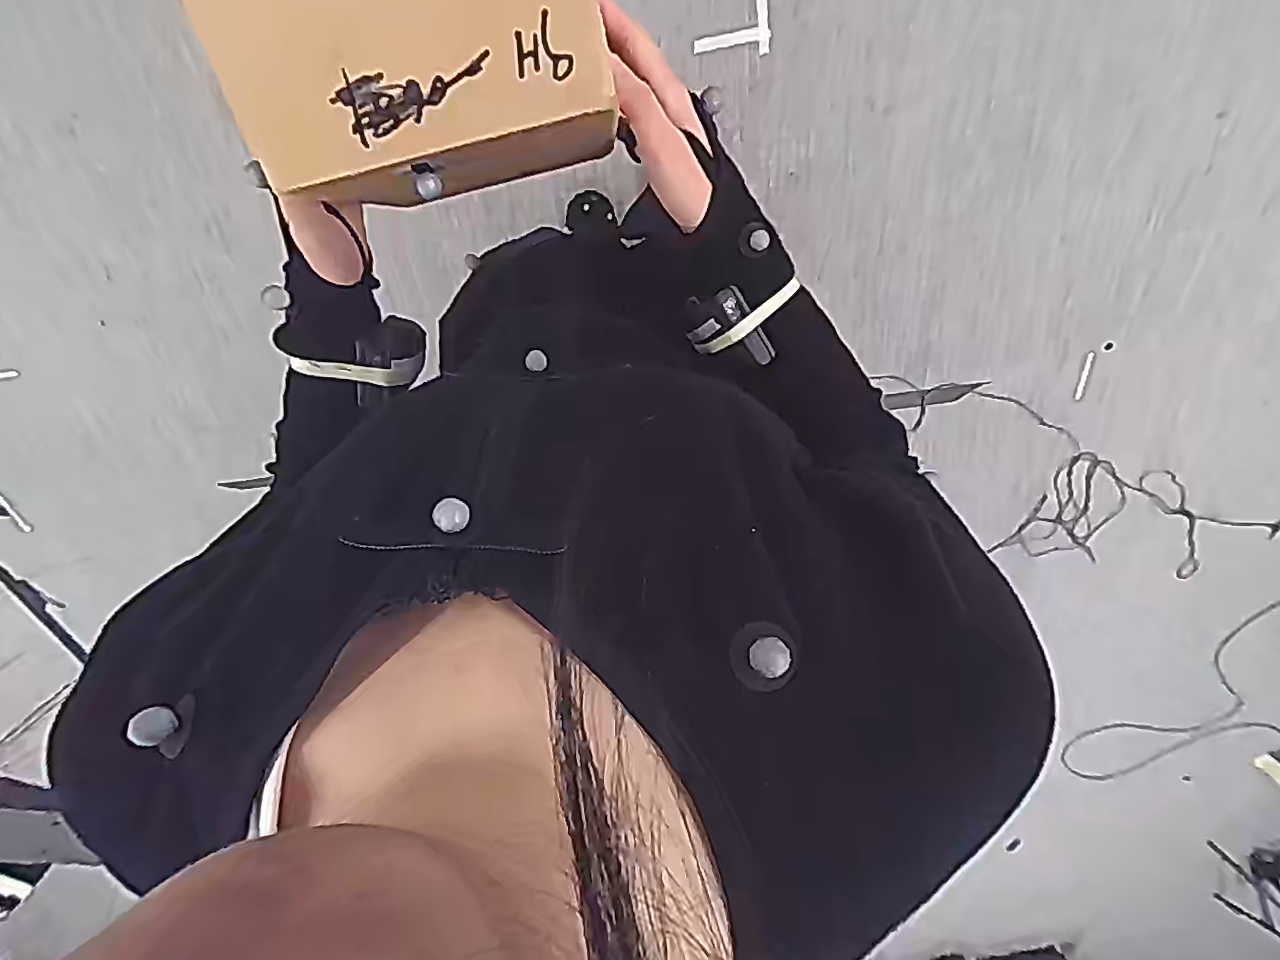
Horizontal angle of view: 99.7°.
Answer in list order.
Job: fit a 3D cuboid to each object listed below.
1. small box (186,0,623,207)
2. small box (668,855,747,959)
[{"bbox_3d":[-0.108,-0.257,0.279,0.168,0.176,0.179,-12,114,4],"label":"small box"},{"bbox_3d":[0.157,1.032,1.291,0.168,0.176,0.179,-6,119,1],"label":"small box"}]
